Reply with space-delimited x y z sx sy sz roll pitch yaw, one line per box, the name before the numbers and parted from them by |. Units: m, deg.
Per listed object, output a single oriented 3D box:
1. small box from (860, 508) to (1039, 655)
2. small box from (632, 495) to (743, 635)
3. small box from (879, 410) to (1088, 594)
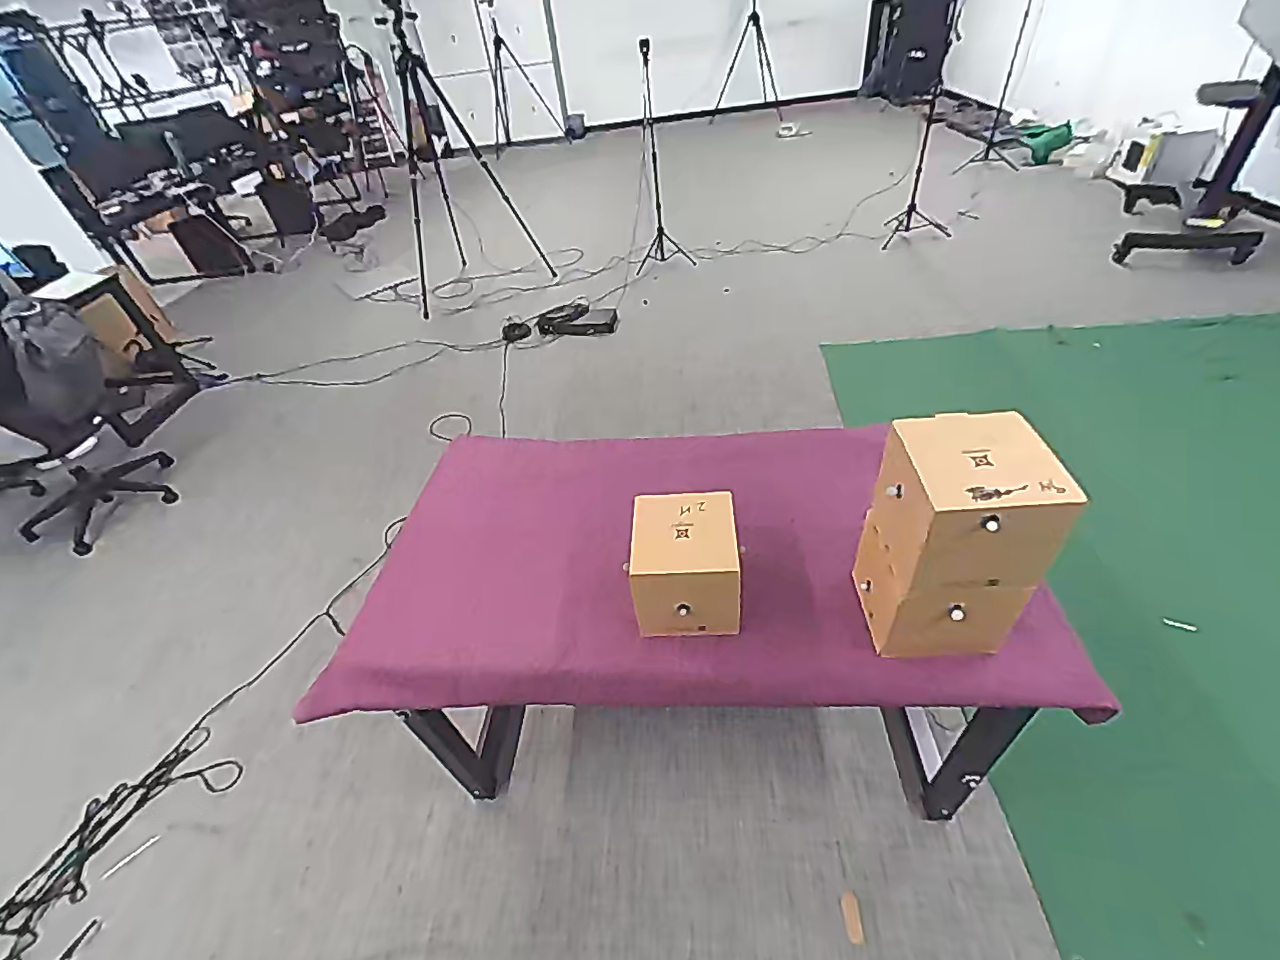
small box | 0.456 0.153 0.832 0.179 0.176 0.168 -6 42 7
small box | 0.085 0.148 0.915 0.168 0.176 0.179 -4 41 7
small box | 0.434 0.031 0.725 0.168 0.176 0.179 -6 42 8
